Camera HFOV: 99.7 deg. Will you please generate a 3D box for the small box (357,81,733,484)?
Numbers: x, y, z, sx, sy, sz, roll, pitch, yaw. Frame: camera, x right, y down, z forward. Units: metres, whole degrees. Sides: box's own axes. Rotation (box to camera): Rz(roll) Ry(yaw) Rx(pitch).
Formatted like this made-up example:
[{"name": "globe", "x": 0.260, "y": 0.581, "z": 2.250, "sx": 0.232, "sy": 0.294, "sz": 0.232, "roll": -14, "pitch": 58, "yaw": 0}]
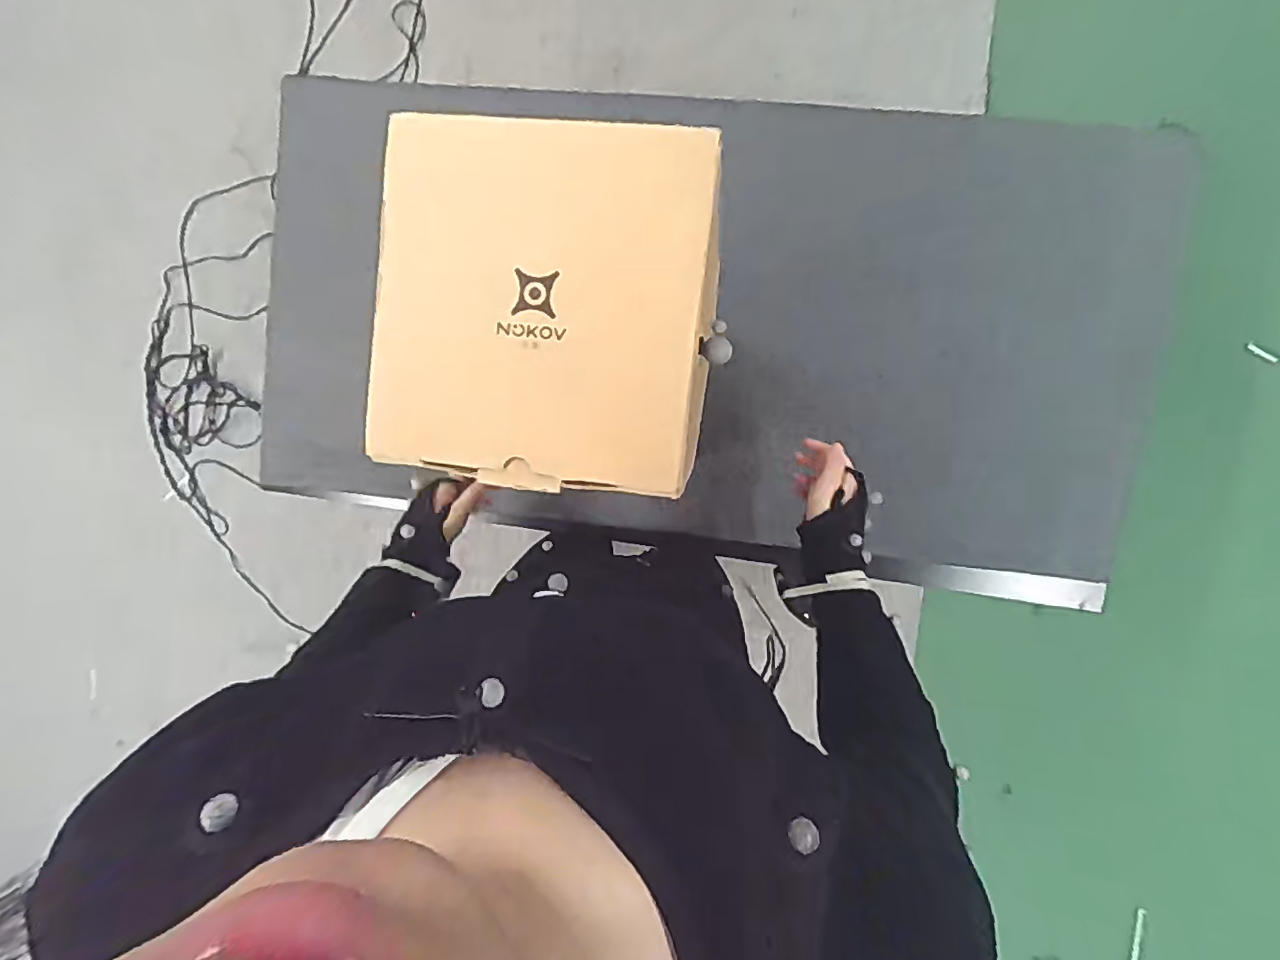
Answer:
[{"name": "small box", "x": -0.040, "y": -0.097, "z": 0.332, "sx": 0.168, "sy": 0.176, "sz": 0.179, "roll": 7, "pitch": 94, "yaw": 6}]
